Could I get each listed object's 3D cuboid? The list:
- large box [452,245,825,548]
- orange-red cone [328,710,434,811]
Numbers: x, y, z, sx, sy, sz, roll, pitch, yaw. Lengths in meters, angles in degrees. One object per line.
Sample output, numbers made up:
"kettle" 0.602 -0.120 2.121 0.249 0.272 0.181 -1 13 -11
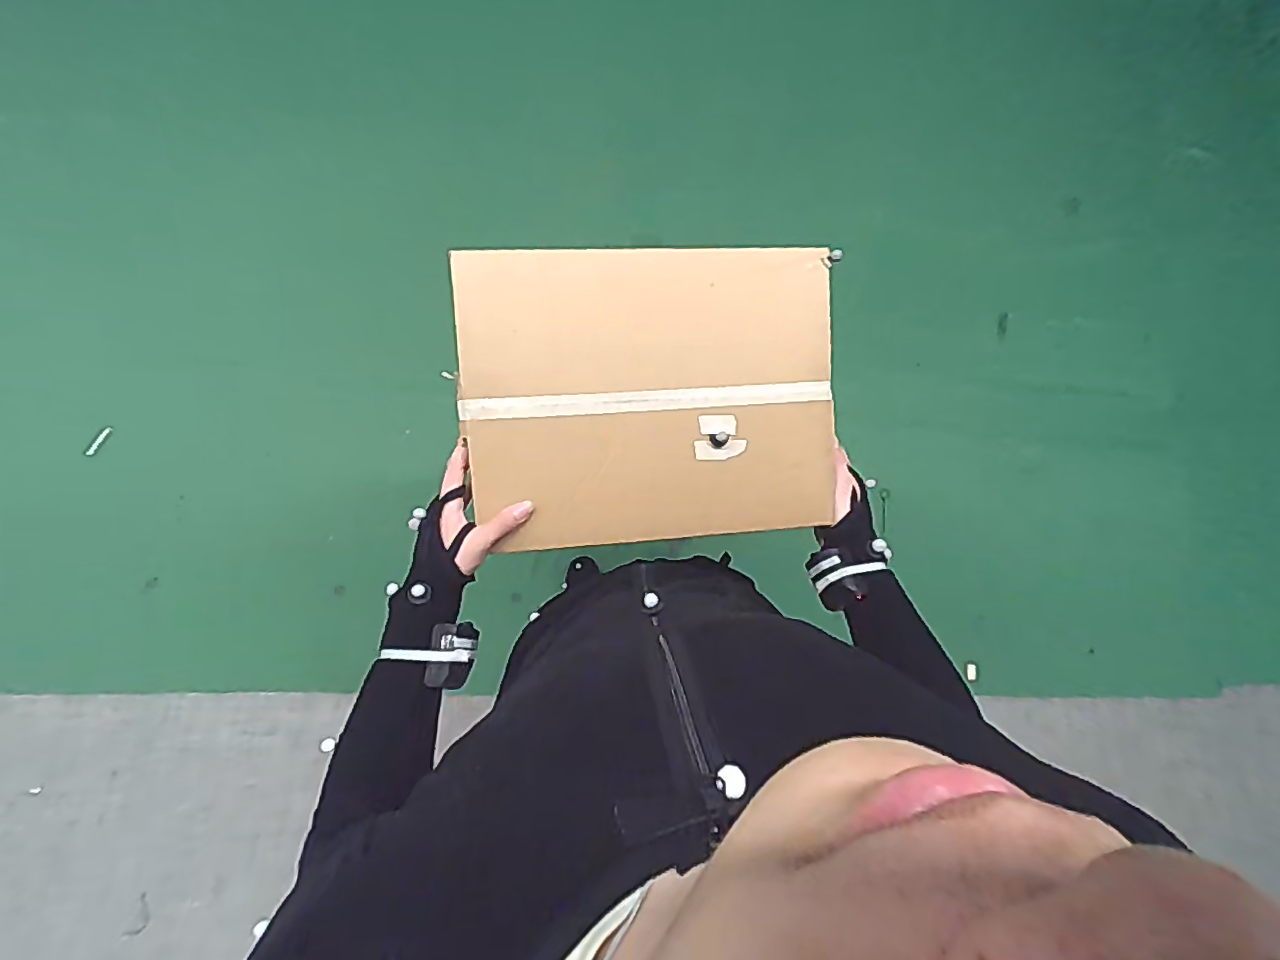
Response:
"large box" -0.012 -0.109 0.740 0.408 0.320 0.320 -5 97 -9
"orange-red cone" -0.664 0.714 1.316 0.199 0.360 0.198 10 79 -4
